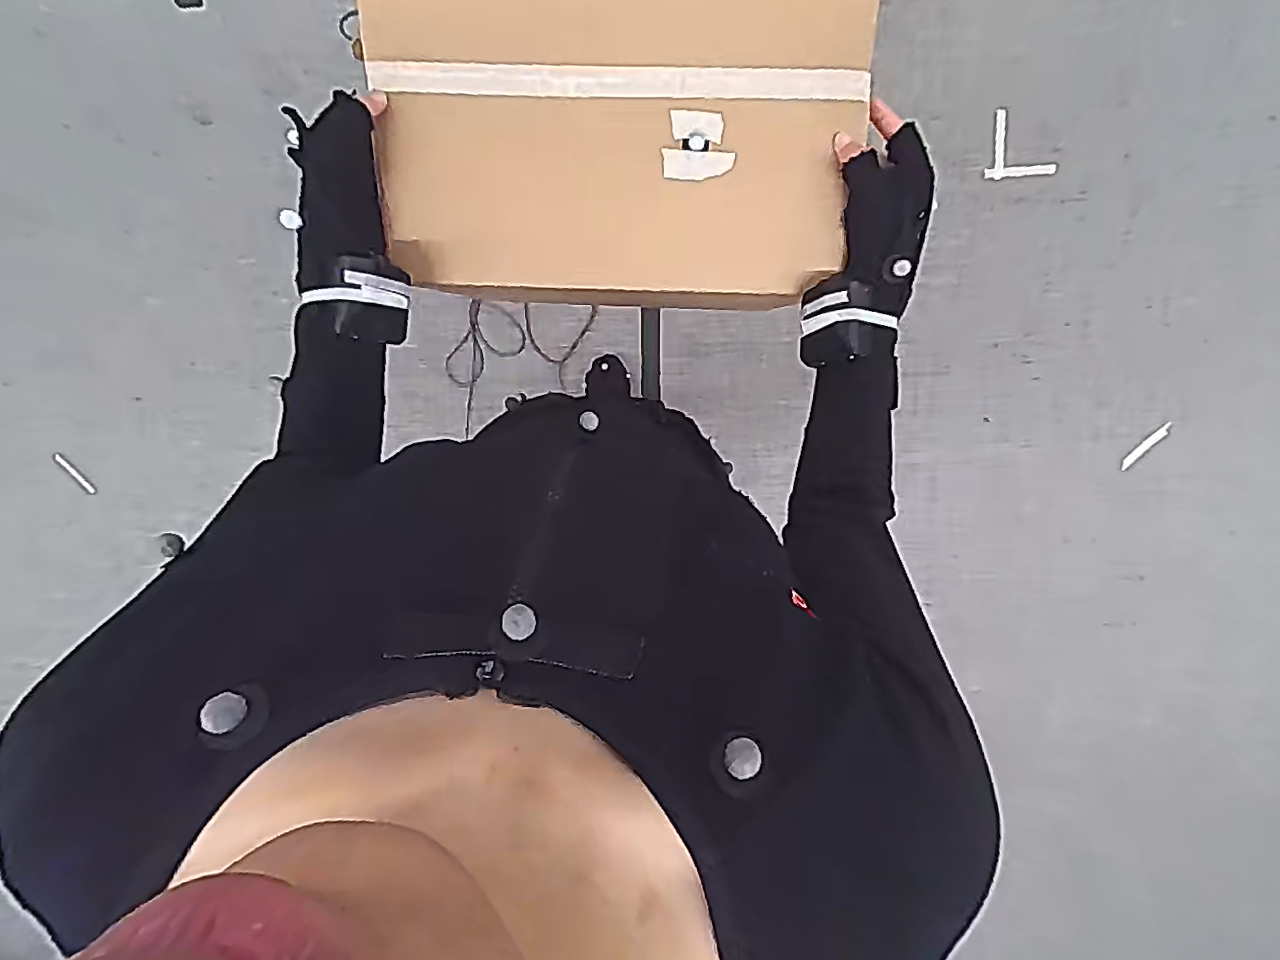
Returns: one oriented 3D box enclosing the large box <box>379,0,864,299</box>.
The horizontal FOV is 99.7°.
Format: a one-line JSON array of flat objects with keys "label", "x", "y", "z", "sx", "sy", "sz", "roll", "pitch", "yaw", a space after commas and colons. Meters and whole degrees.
[{"label": "large box", "x": -0.017, "y": -0.372, "z": 0.599, "sx": 0.408, "sy": 0.320, "sz": 0.320, "roll": 1, "pitch": 106, "yaw": 0}]
